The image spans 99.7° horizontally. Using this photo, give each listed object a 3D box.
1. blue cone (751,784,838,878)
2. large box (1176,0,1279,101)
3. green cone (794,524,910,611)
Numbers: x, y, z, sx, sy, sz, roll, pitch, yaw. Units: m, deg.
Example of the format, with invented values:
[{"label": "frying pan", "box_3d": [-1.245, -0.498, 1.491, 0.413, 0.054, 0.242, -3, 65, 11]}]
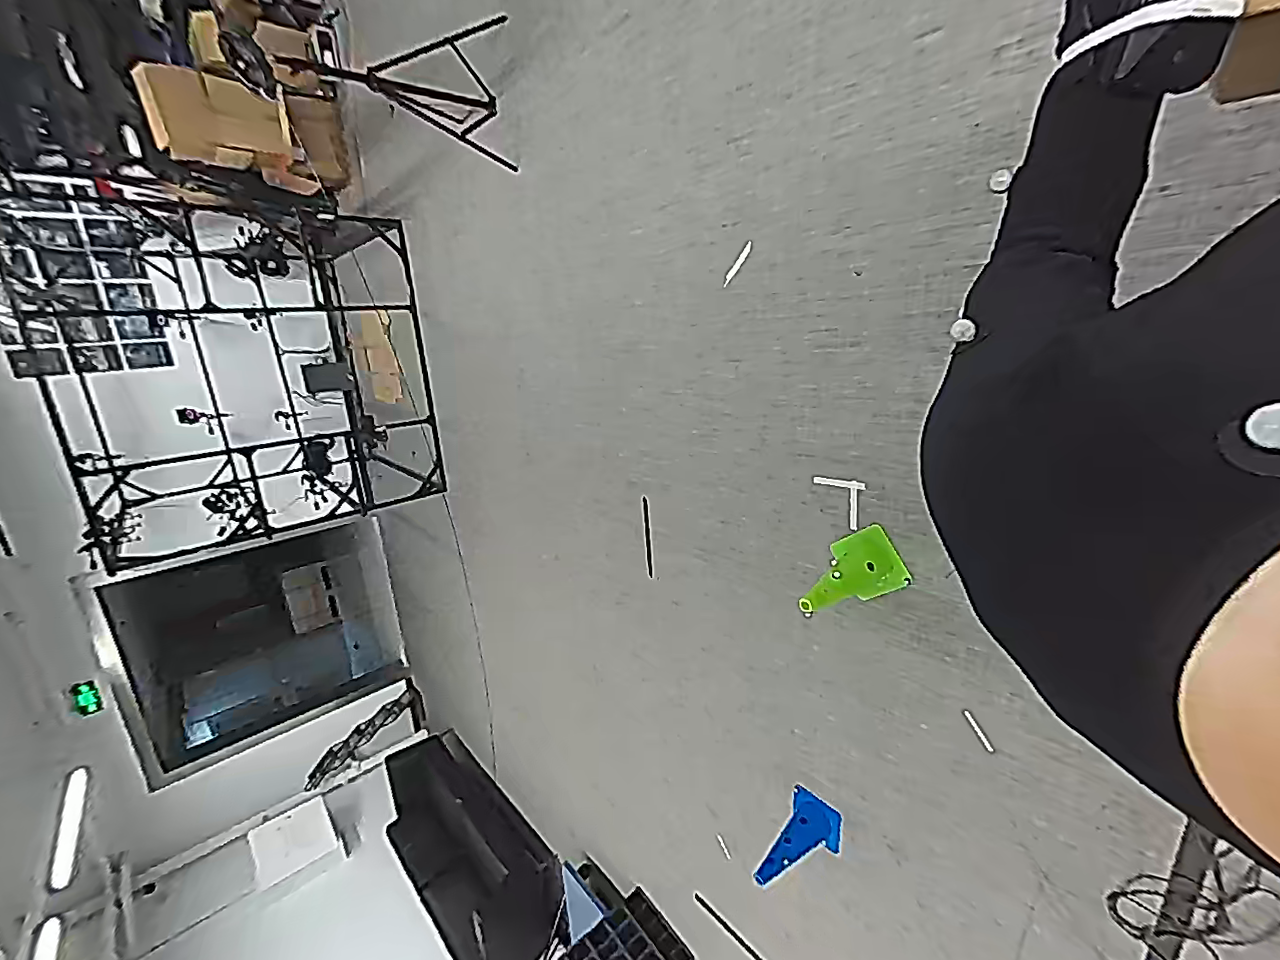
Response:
[{"label": "blue cone", "box_3d": [0.551, 1.334, 1.990, 0.192, 0.380, 0.193, 20, 118, 47]}, {"label": "large box", "box_3d": [0.583, -0.447, 0.263, 0.408, 0.320, 0.320, 16, 118, 46]}, {"label": "green cone", "box_3d": [0.571, 0.288, 1.557, 0.202, 0.368, 0.200, -44, 68, 50]}]
